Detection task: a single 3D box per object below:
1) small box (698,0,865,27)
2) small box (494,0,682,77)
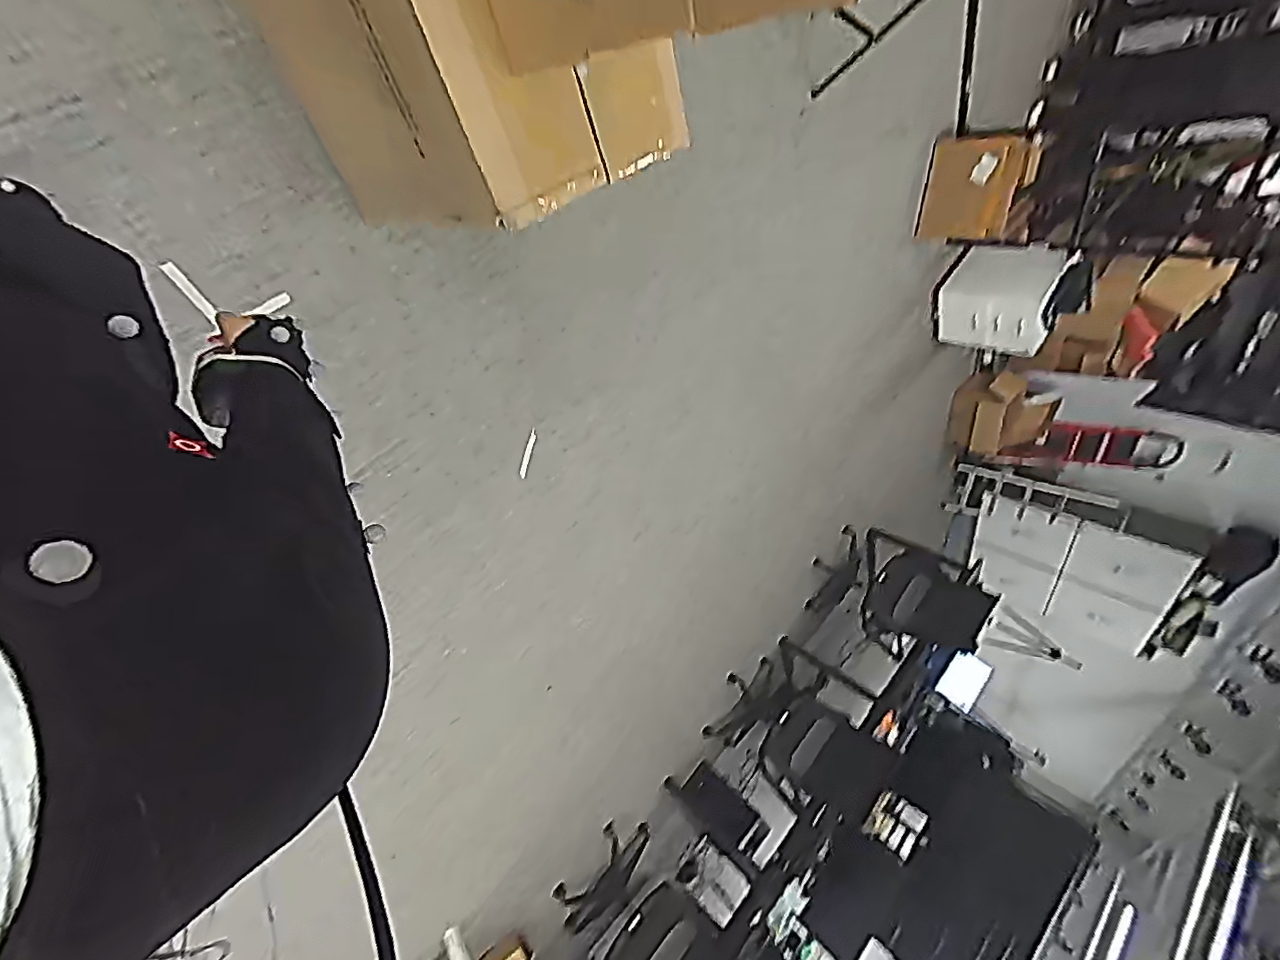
[{"bbox_3d":[0.149,-0.504,0.445,0.168,0.176,0.179,-40,134,-24],"label":"small box"},{"bbox_3d":[-0.076,-0.623,0.655,0.168,0.176,0.179,-39,134,-25],"label":"small box"}]
